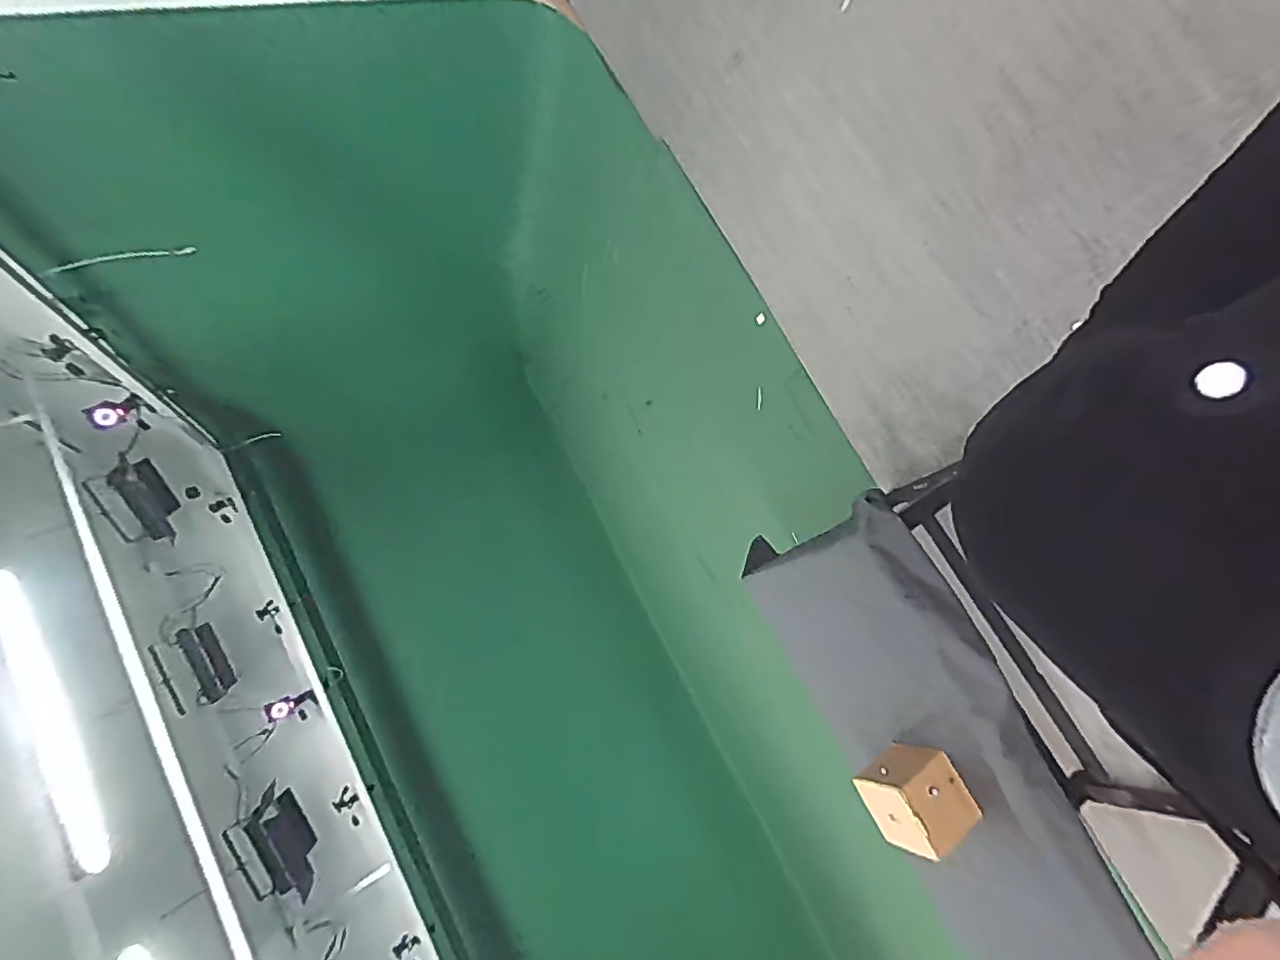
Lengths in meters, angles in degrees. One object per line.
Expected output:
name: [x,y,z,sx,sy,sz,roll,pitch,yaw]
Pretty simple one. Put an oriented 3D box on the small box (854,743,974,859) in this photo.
small box: [0.674,0.770,1.320,0.168,0.176,0.179,62,157,10]
